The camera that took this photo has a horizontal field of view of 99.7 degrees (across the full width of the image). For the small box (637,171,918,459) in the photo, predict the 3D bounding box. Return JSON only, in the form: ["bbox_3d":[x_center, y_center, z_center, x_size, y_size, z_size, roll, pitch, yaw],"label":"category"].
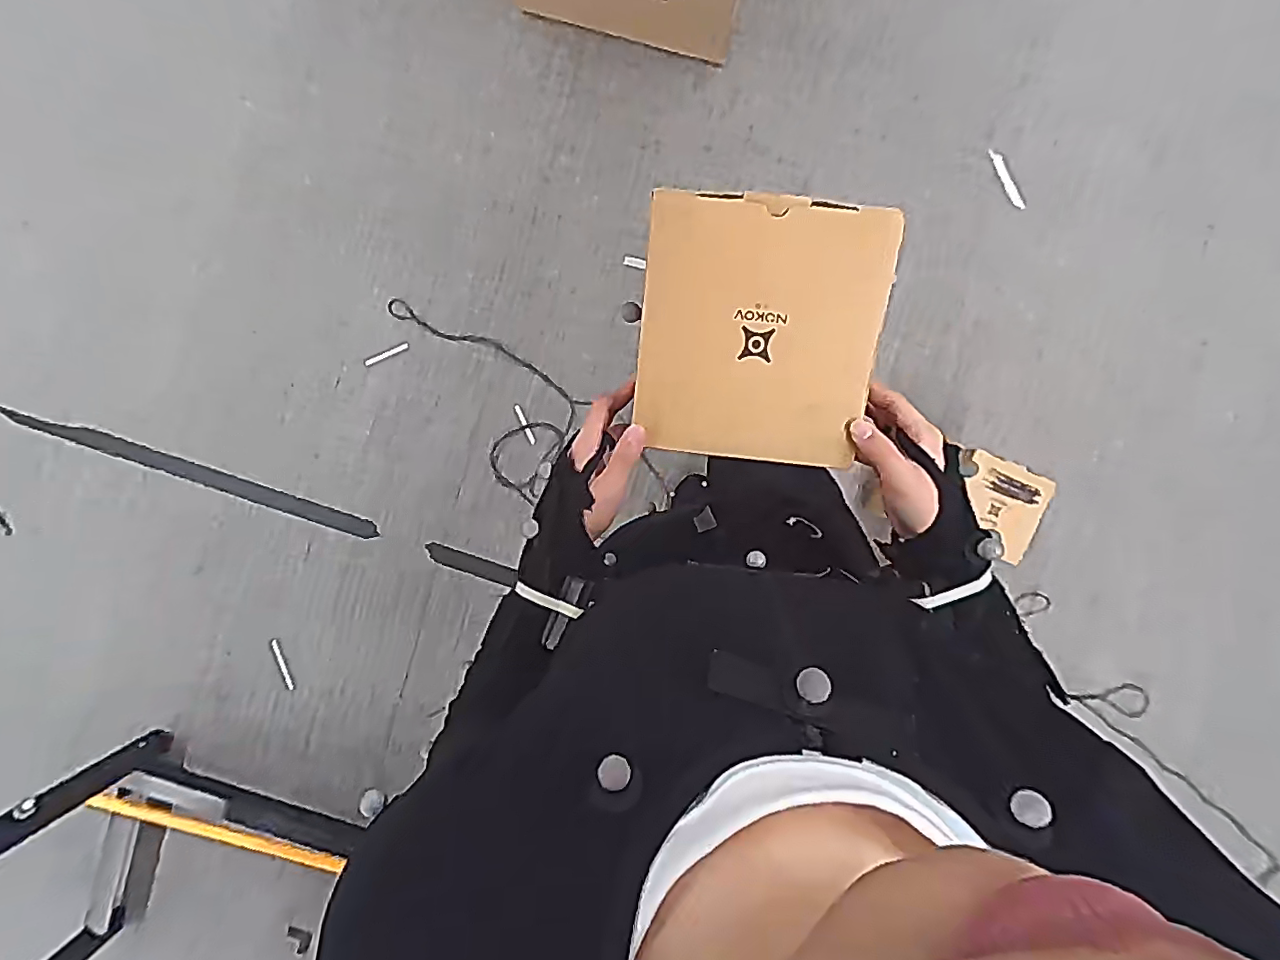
[{"bbox_3d":[0.092,-0.128,0.441,0.168,0.176,0.179,6,106,2],"label":"small box"}]

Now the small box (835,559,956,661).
[{"bbox_3d":[0.589,0.294,1.268,0.179,0.176,0.168,19,91,1],"label":"small box"}]

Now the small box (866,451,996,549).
[{"bbox_3d":[0.666,0.040,1.259,0.179,0.176,0.168,25,92,1],"label":"small box"}]
